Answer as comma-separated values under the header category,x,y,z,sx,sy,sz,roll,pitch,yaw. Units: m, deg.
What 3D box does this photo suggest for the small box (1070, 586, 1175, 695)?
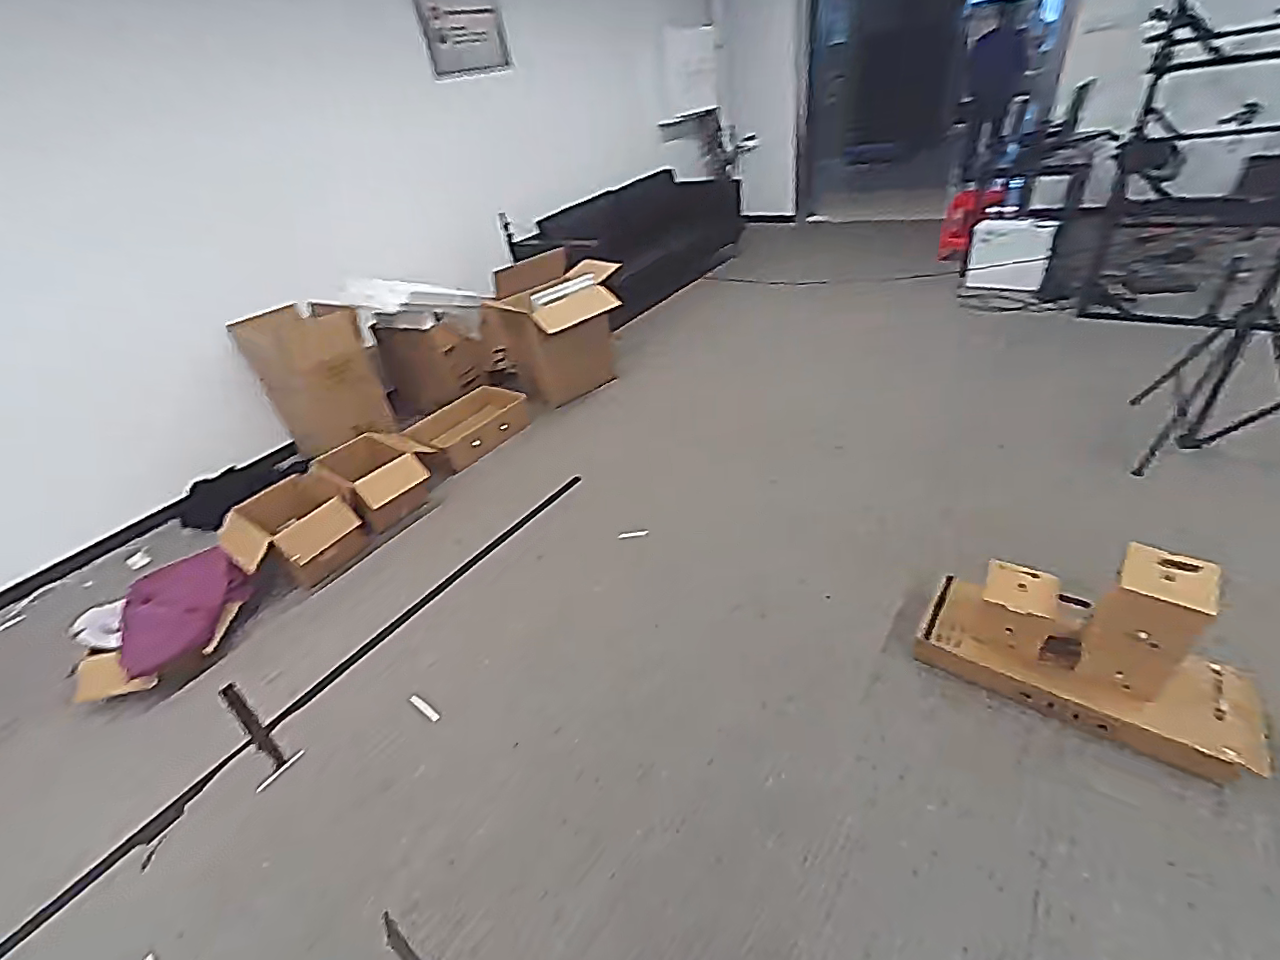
category,x,y,z,sx,sy,sz,roll,pitch,yaw
small box,1.253,0.416,1.409,0.168,0.176,0.179,17,44,34

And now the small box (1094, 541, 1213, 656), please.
category,x,y,z,sx,sy,sz,roll,pitch,yaw
small box,1.237,0.286,1.310,0.168,0.176,0.179,20,46,36

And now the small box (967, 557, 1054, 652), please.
category,x,y,z,sx,sy,sz,roll,pitch,yaw
small box,1.052,0.357,1.541,0.168,0.176,0.179,16,44,32
